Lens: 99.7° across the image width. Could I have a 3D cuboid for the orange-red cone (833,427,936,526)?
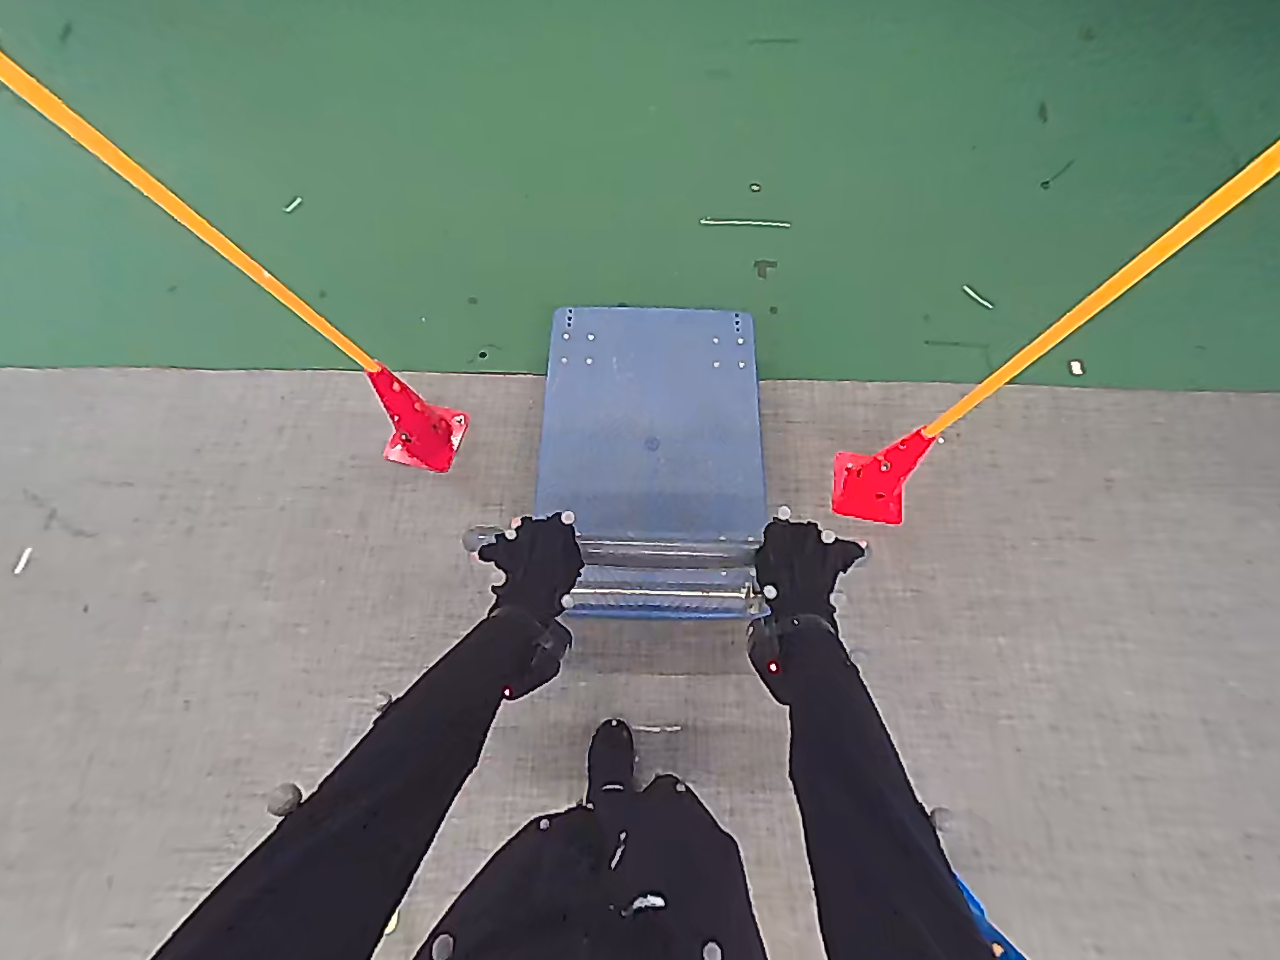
[{"bbox_3d":[0.658,-0.037,1.392,0.198,0.360,0.199,11,69,5],"label":"orange-red cone"}]
